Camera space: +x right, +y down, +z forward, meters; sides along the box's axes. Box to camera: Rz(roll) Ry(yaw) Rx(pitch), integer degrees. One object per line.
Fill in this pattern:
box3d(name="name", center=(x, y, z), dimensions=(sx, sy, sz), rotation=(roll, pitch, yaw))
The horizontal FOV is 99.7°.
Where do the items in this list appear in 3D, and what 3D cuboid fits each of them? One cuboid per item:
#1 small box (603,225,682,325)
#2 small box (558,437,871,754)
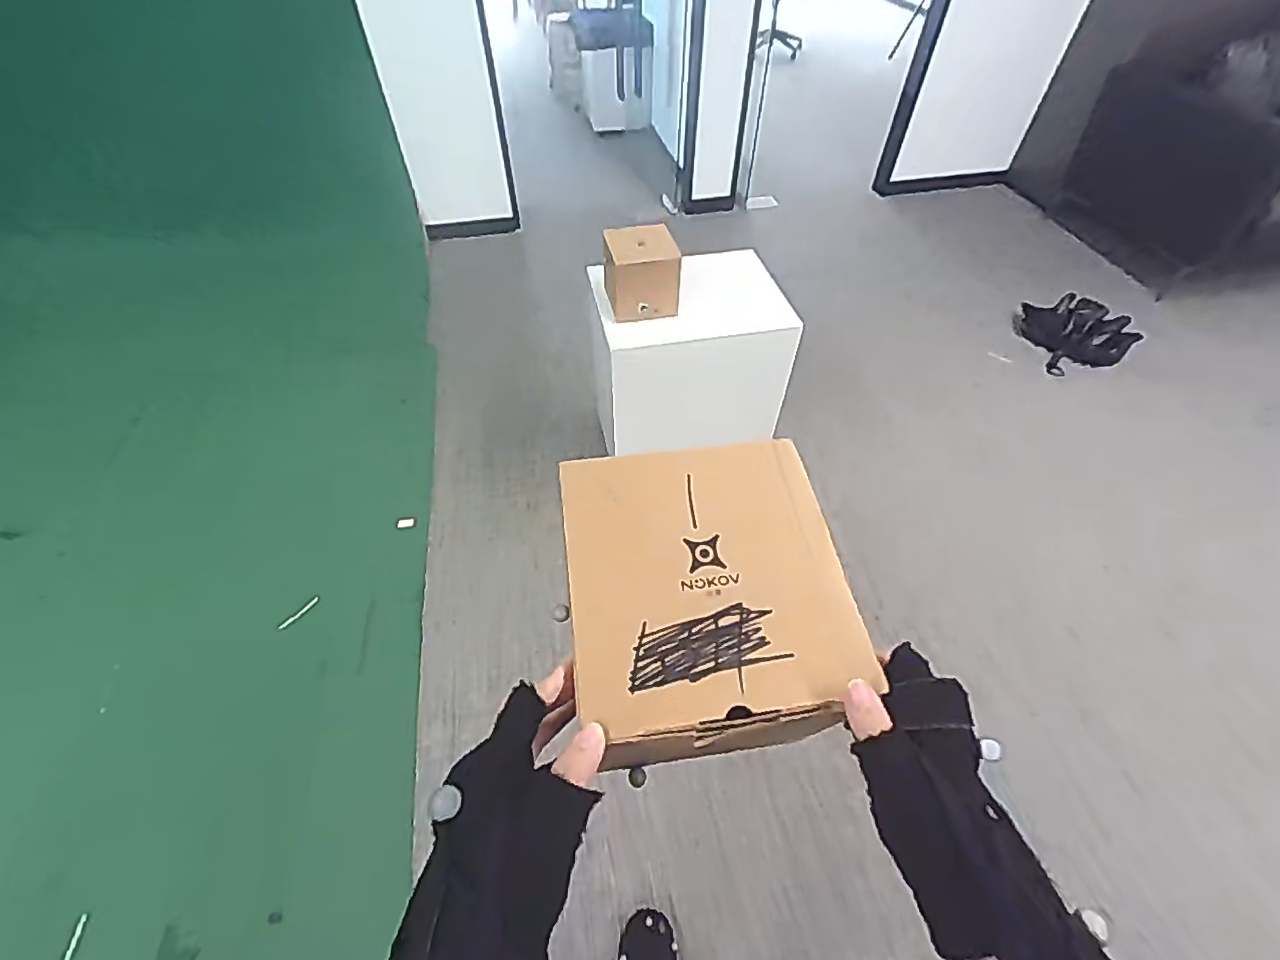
box3d(name="small box", center=(0.002, -0.526, 1.392), dimensions=(0.168, 0.176, 0.179), rotation=(-12, 53, -8))
box3d(name="small box", center=(0.035, 0.094, 0.399), dimensions=(0.168, 0.176, 0.179), rotation=(-7, 57, -6))
